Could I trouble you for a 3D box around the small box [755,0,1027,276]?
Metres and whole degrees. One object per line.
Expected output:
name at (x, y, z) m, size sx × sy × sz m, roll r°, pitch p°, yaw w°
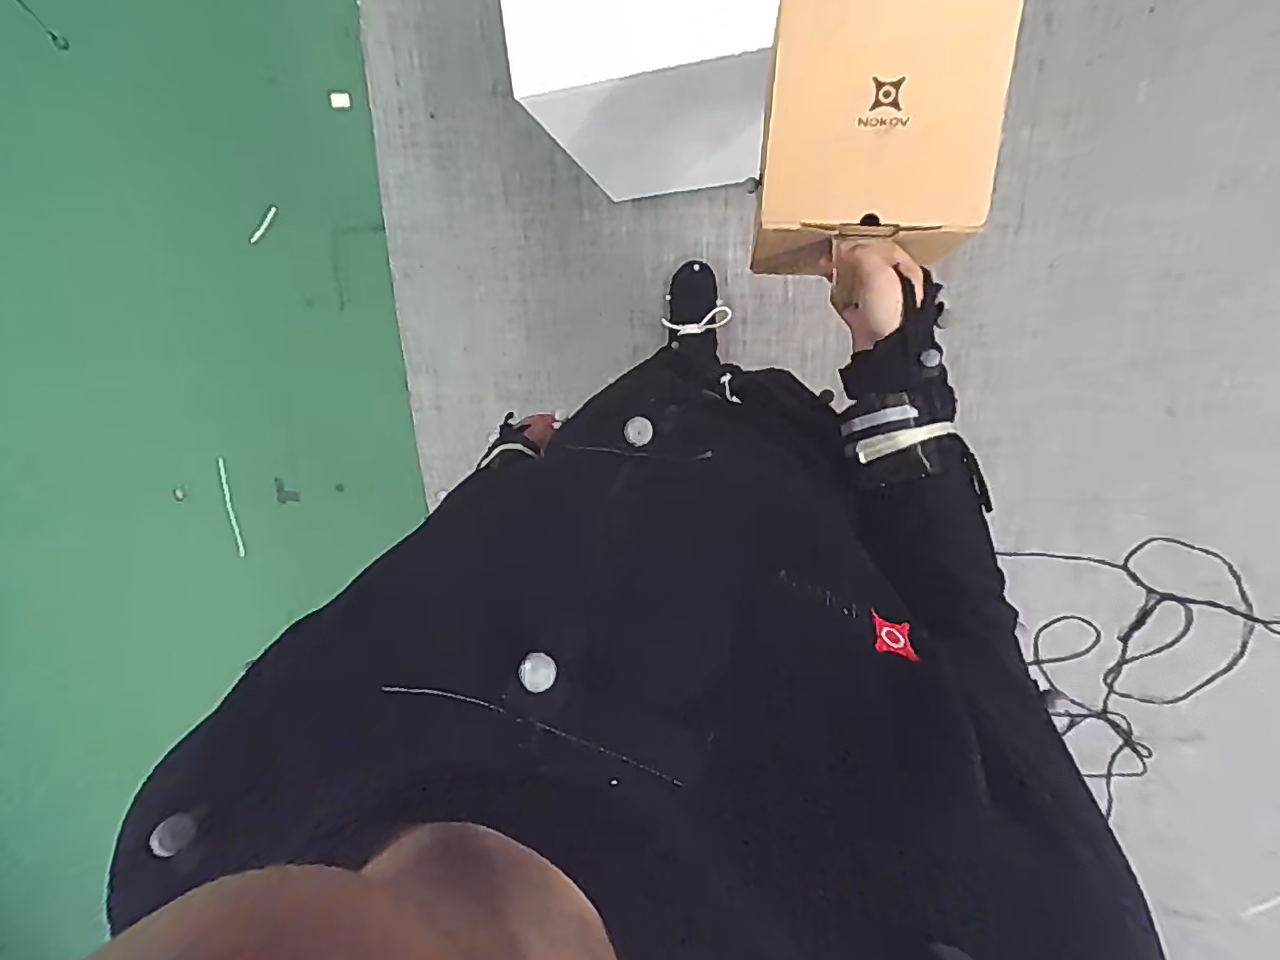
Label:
small box at (0.195, -0.291, 0.473) m, size 0.168 × 0.176 × 0.179 m, roll 5°, pitch 100°, yaw 8°
